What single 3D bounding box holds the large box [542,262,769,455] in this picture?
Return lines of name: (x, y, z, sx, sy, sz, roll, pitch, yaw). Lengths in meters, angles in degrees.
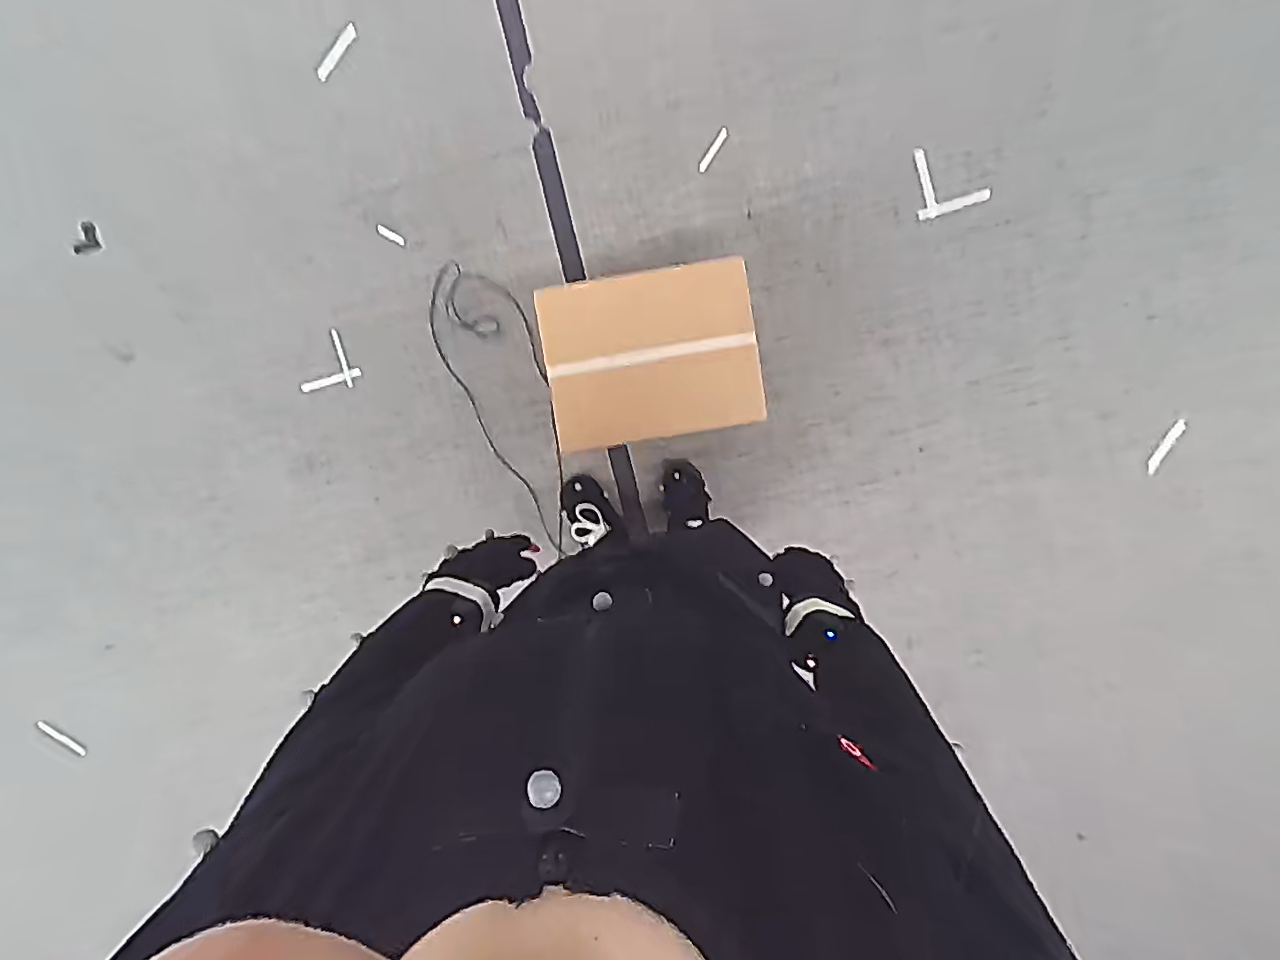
large box: (0.030, -0.241, 1.185, 0.408, 0.320, 0.320, -9, 95, 1)
